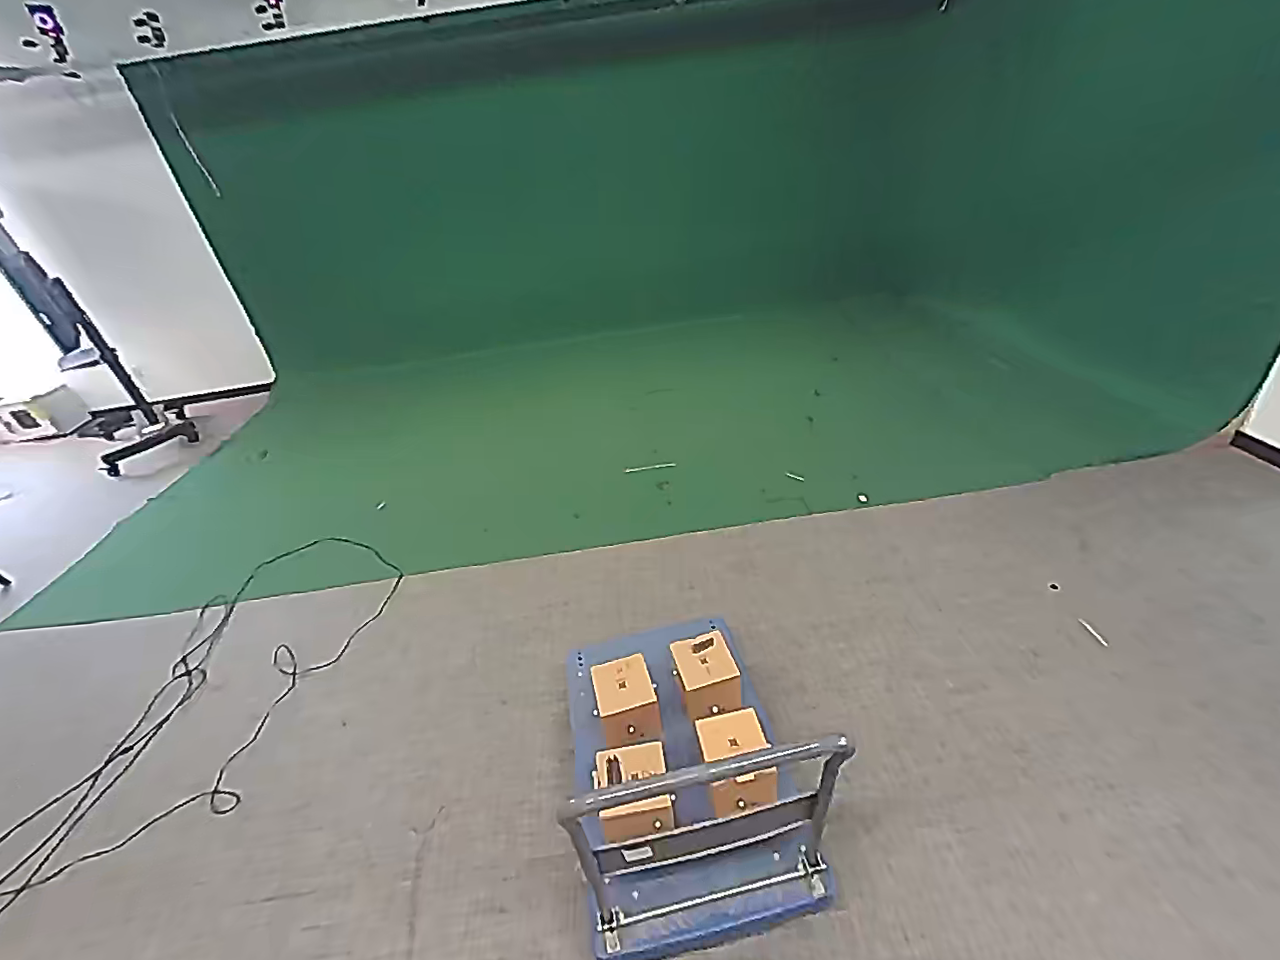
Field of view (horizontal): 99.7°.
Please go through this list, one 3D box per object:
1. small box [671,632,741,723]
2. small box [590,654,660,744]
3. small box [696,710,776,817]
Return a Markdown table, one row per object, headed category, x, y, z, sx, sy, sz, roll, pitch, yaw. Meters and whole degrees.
| category | x | y | z | sx | sy | sz | roll | pitch | yaw |
| --- | --- | --- | --- | --- | --- | --- | --- | --- | --- |
| small box | 0.199 | 0.600 | 1.648 | 0.168 | 0.176 | 0.179 | -14 | 35 | -7 |
| small box | -0.043 | 0.660 | 1.613 | 0.168 | 0.176 | 0.179 | -13 | 34 | -8 |
| small box | 0.248 | 0.746 | 1.425 | 0.168 | 0.176 | 0.179 | -11 | 34 | -4 |
